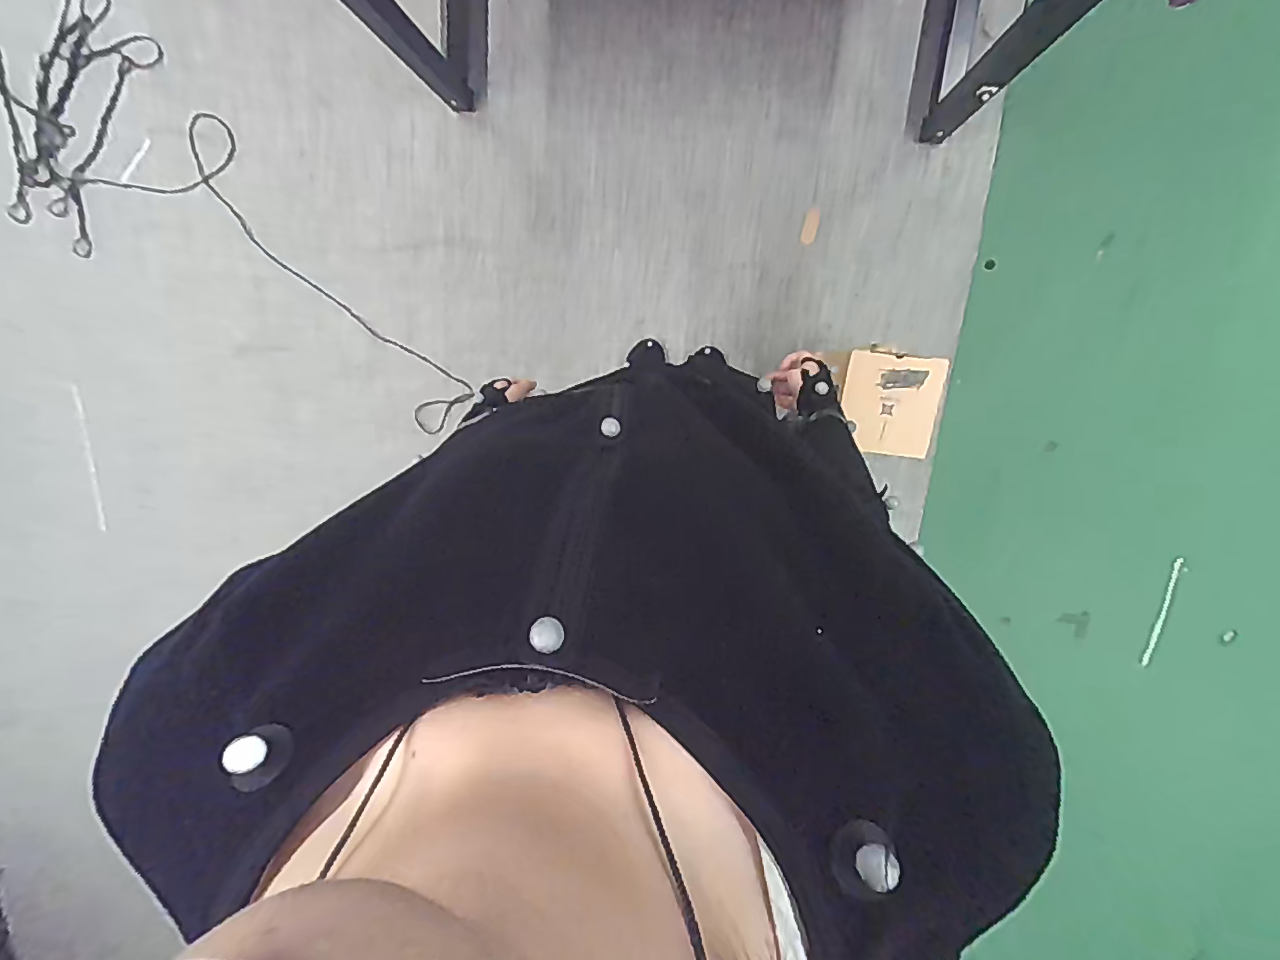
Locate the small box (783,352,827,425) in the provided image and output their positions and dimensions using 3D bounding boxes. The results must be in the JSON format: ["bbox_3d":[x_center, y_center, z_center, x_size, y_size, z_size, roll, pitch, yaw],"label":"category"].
[{"bbox_3d":[0.468,-0.213,1.339,0.179,0.176,0.168,16,104,2],"label":"small box"}]

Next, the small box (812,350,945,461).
[{"bbox_3d":[0.435,-0.147,1.019,0.168,0.176,0.179,8,105,4],"label":"small box"}]
